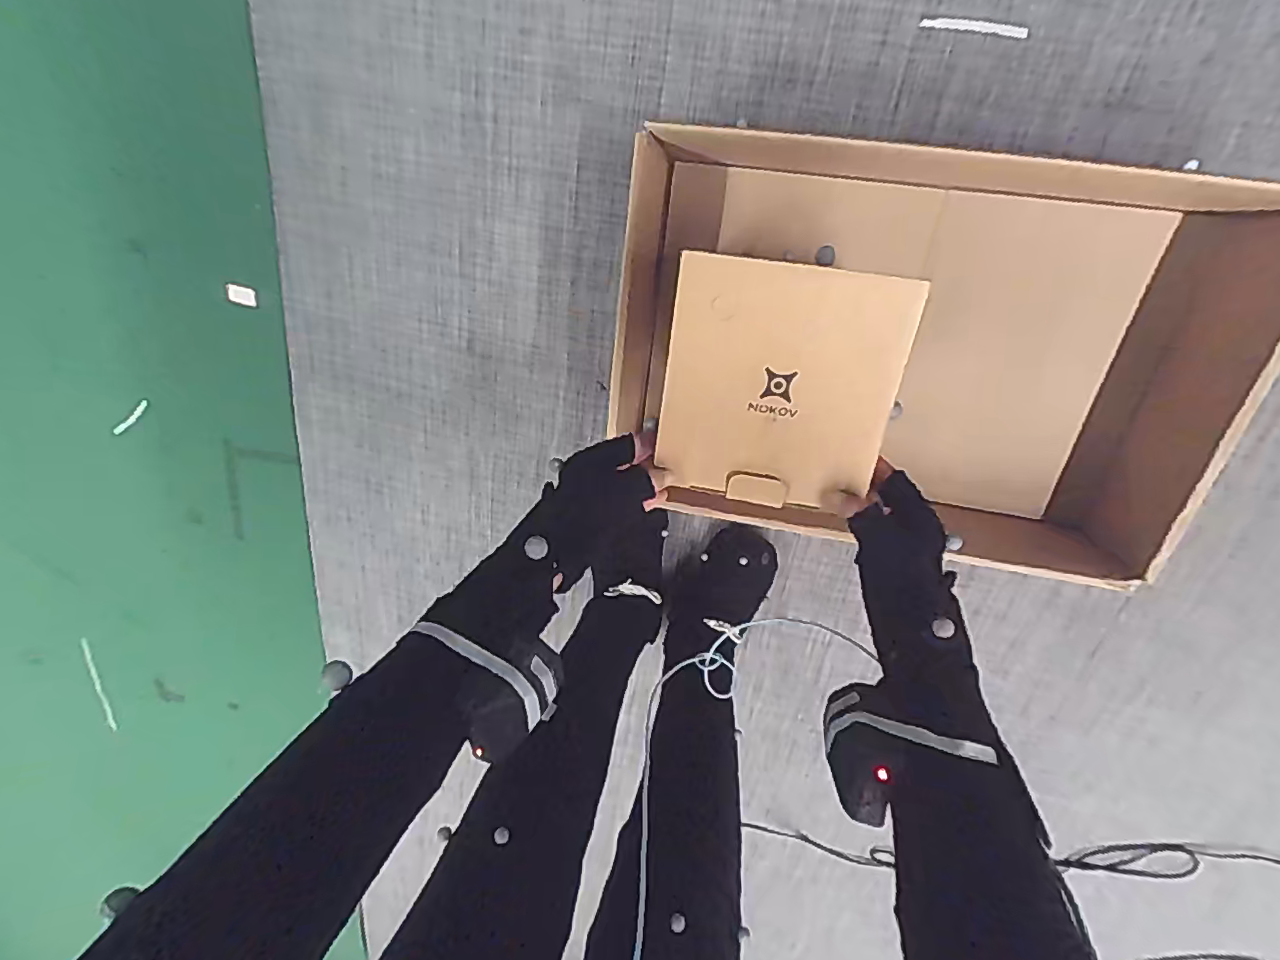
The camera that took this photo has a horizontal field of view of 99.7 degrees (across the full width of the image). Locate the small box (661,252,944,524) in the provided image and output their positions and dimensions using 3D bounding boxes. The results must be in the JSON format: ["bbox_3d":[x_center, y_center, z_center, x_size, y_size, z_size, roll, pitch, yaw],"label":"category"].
[{"bbox_3d":[0.119,-0.089,0.458,0.168,0.176,0.179,10,114,7],"label":"small box"}]
